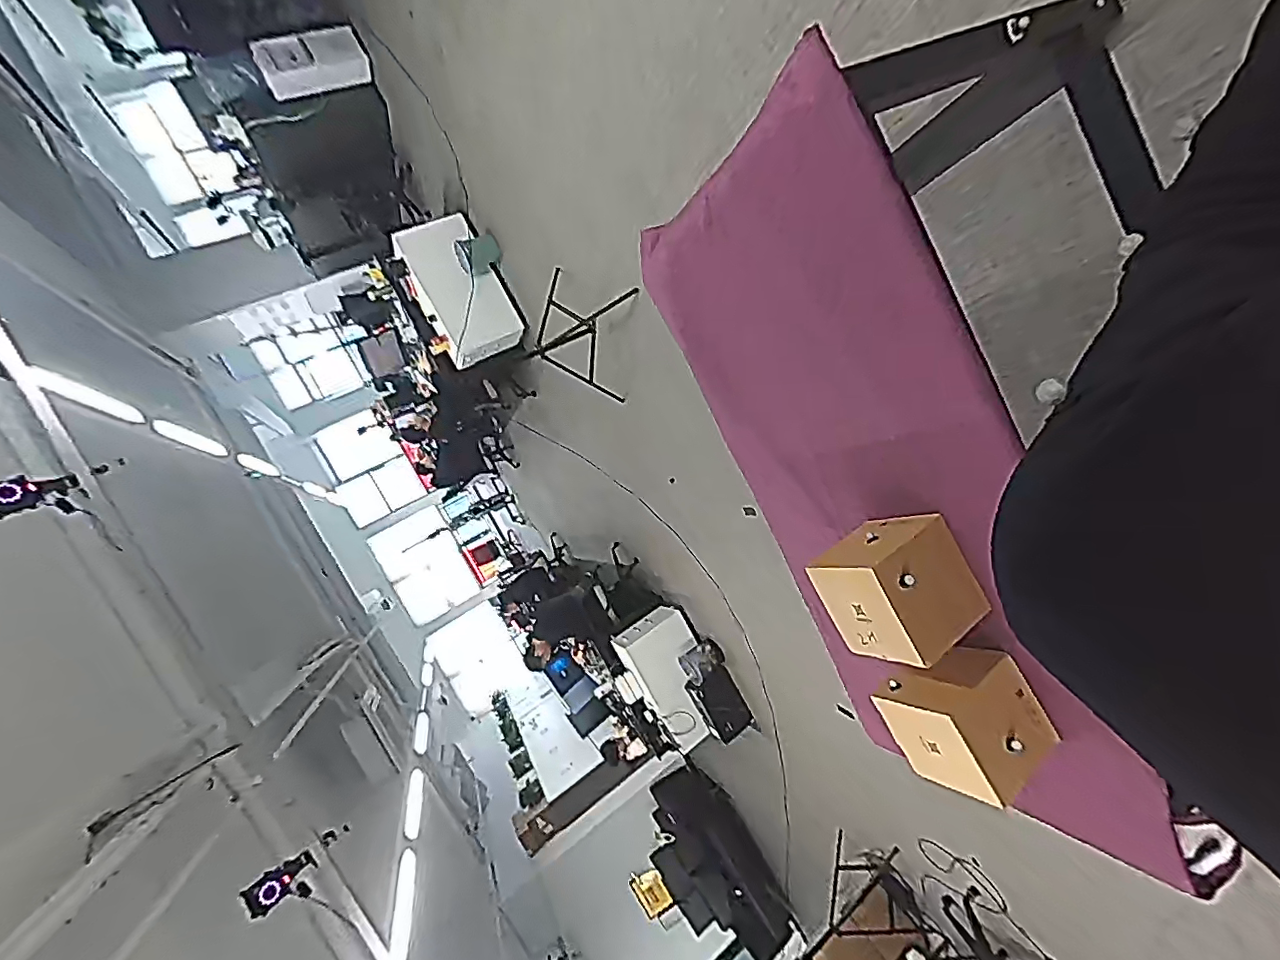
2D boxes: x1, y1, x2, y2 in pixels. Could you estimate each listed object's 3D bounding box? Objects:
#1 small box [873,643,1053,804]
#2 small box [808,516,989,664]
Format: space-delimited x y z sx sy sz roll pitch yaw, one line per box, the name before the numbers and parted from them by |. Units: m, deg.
small box | 0.546 0.393 0.911 0.168 0.176 0.179 59 160 1
small box | 0.422 0.169 0.891 0.179 0.176 0.168 61 161 -1
